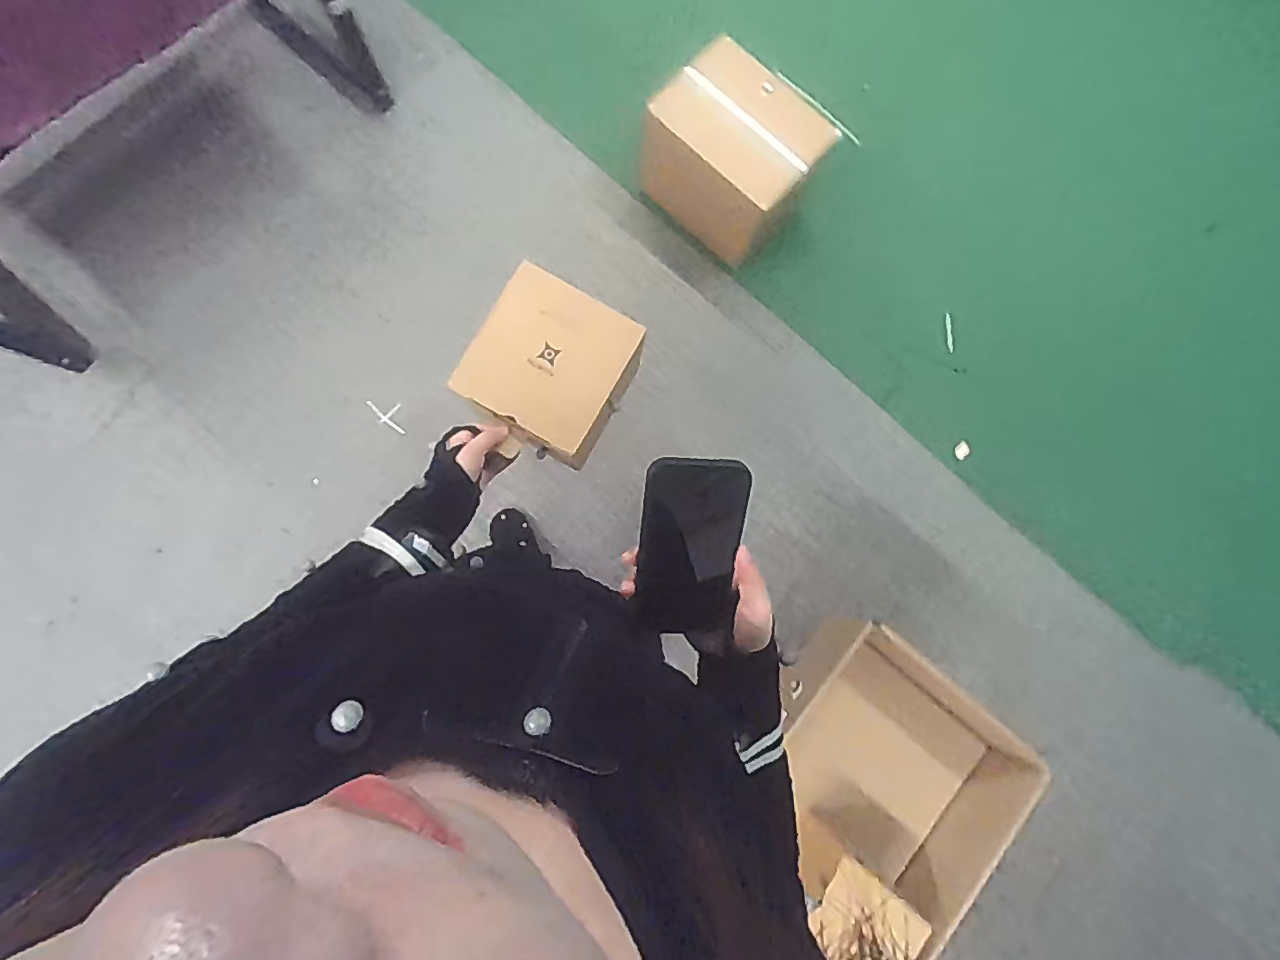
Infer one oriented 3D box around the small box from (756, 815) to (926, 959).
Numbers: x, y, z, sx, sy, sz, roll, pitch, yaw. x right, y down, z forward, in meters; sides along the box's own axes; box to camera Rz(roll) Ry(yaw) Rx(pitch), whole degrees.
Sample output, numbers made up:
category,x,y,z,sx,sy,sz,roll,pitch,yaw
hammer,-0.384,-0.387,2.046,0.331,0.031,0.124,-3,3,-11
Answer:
category,x,y,z,sx,sy,sz,roll,pitch,yaw
small box,0.328,0.720,0.917,0.179,0.176,0.168,41,81,3
